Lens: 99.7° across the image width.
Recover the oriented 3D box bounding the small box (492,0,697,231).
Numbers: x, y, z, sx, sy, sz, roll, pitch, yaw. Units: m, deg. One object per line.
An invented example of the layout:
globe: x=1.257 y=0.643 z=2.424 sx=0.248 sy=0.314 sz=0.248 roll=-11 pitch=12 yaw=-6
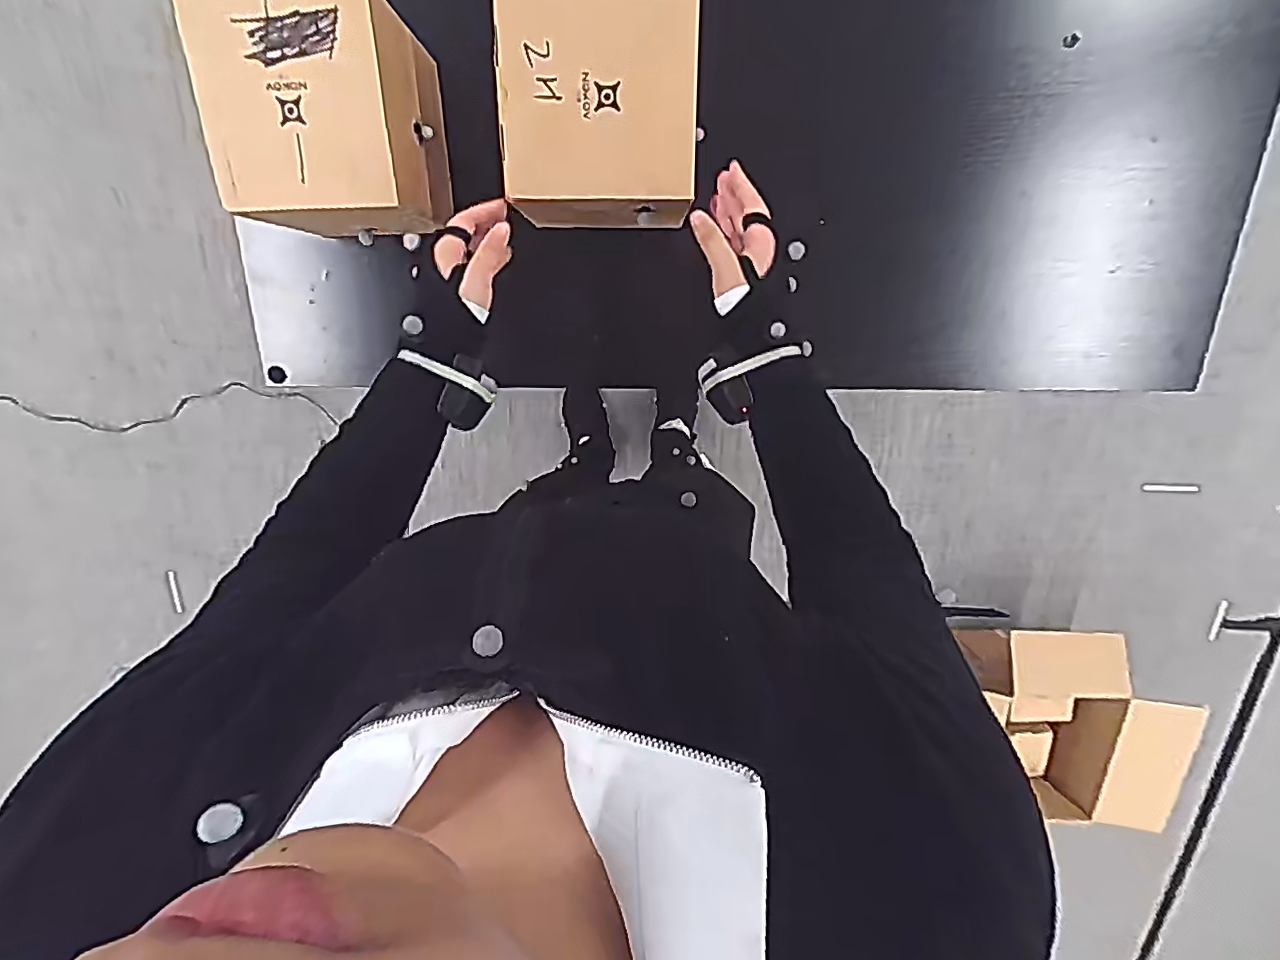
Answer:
small box: x=-0.040 y=-0.358 z=0.554 sx=0.179 sy=0.176 sz=0.168 roll=0 pitch=107 yaw=0

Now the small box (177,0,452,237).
small box: x=-0.308 y=-0.356 z=0.554 sx=0.168 sy=0.176 sz=0.179 roll=-2 pitch=108 yaw=0
